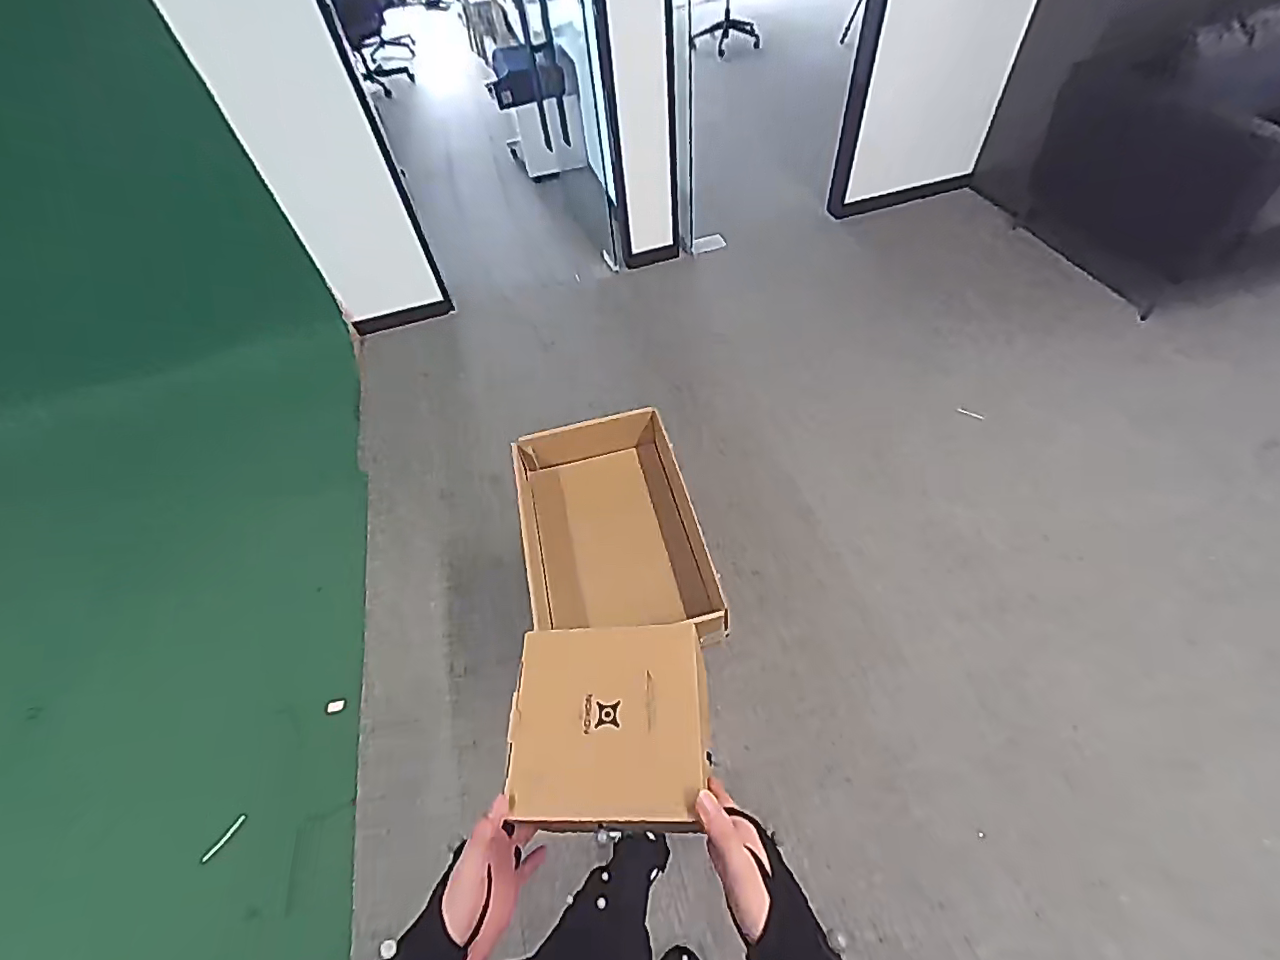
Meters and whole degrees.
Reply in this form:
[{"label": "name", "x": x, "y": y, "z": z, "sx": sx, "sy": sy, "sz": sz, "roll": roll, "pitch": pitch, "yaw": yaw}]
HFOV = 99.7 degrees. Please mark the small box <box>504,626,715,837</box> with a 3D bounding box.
[{"label": "small box", "x": -0.016, "y": 0.261, "z": 0.555, "sx": 0.179, "sy": 0.176, "sz": 0.168, "roll": -3, "pitch": 53, "yaw": 7}]
